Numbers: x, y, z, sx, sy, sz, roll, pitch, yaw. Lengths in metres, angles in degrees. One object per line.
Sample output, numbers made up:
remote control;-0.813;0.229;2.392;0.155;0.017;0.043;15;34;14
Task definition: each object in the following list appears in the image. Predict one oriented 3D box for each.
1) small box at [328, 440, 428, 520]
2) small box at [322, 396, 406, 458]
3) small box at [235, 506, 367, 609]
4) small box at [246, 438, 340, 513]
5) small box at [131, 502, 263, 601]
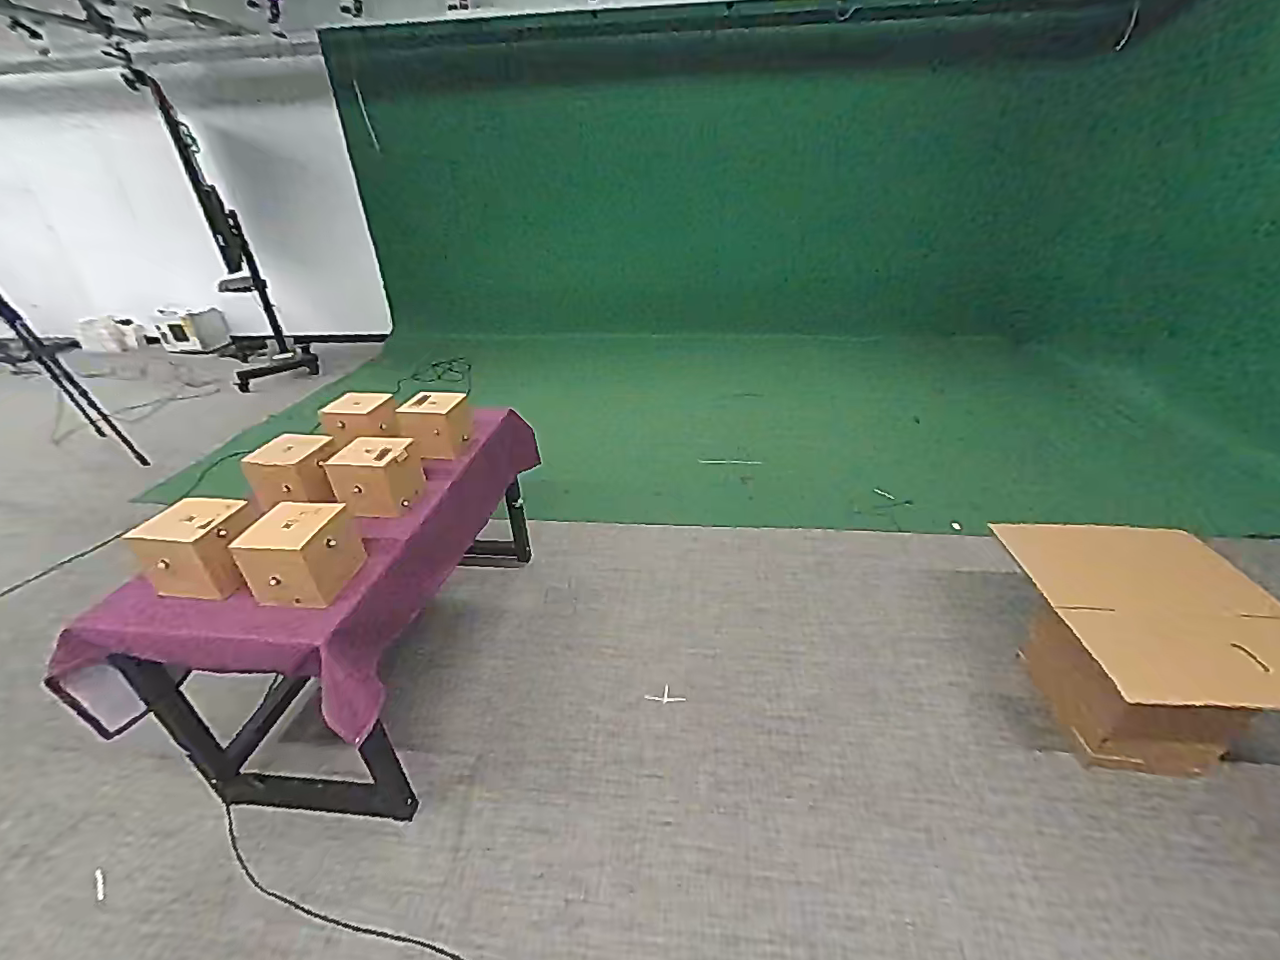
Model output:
small box;-0.731;0.000;1.533;0.179;0.176;0.168;1;30;9
small box;-0.933;-0.174;1.849;0.179;0.176;0.168;2;31;10
small box;-0.759;0.176;1.236;0.168;0.176;0.179;1;30;7
small box;-0.979;-0.007;1.571;0.168;0.176;0.179;4;31;10
small box;-1.014;0.168;1.275;0.179;0.176;0.168;2;31;8
